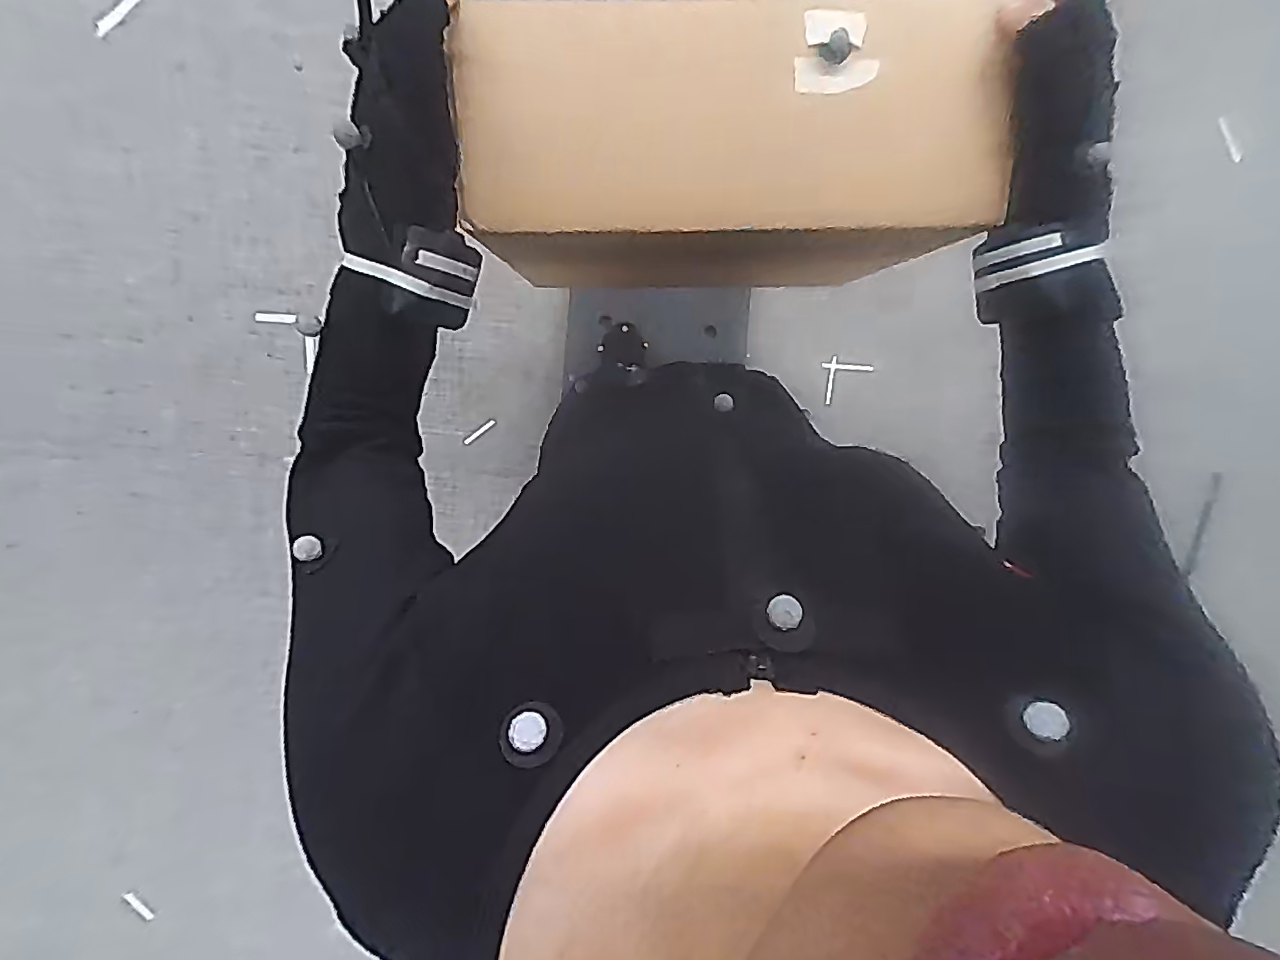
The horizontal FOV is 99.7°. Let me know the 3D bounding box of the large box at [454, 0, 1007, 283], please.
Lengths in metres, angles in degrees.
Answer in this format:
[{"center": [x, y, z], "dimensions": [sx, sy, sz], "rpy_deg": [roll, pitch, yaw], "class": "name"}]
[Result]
[{"center": [0.059, -0.383, 0.528], "dimensions": [0.408, 0.320, 0.320], "rpy_deg": [-1, 102, -2], "class": "large box"}]
